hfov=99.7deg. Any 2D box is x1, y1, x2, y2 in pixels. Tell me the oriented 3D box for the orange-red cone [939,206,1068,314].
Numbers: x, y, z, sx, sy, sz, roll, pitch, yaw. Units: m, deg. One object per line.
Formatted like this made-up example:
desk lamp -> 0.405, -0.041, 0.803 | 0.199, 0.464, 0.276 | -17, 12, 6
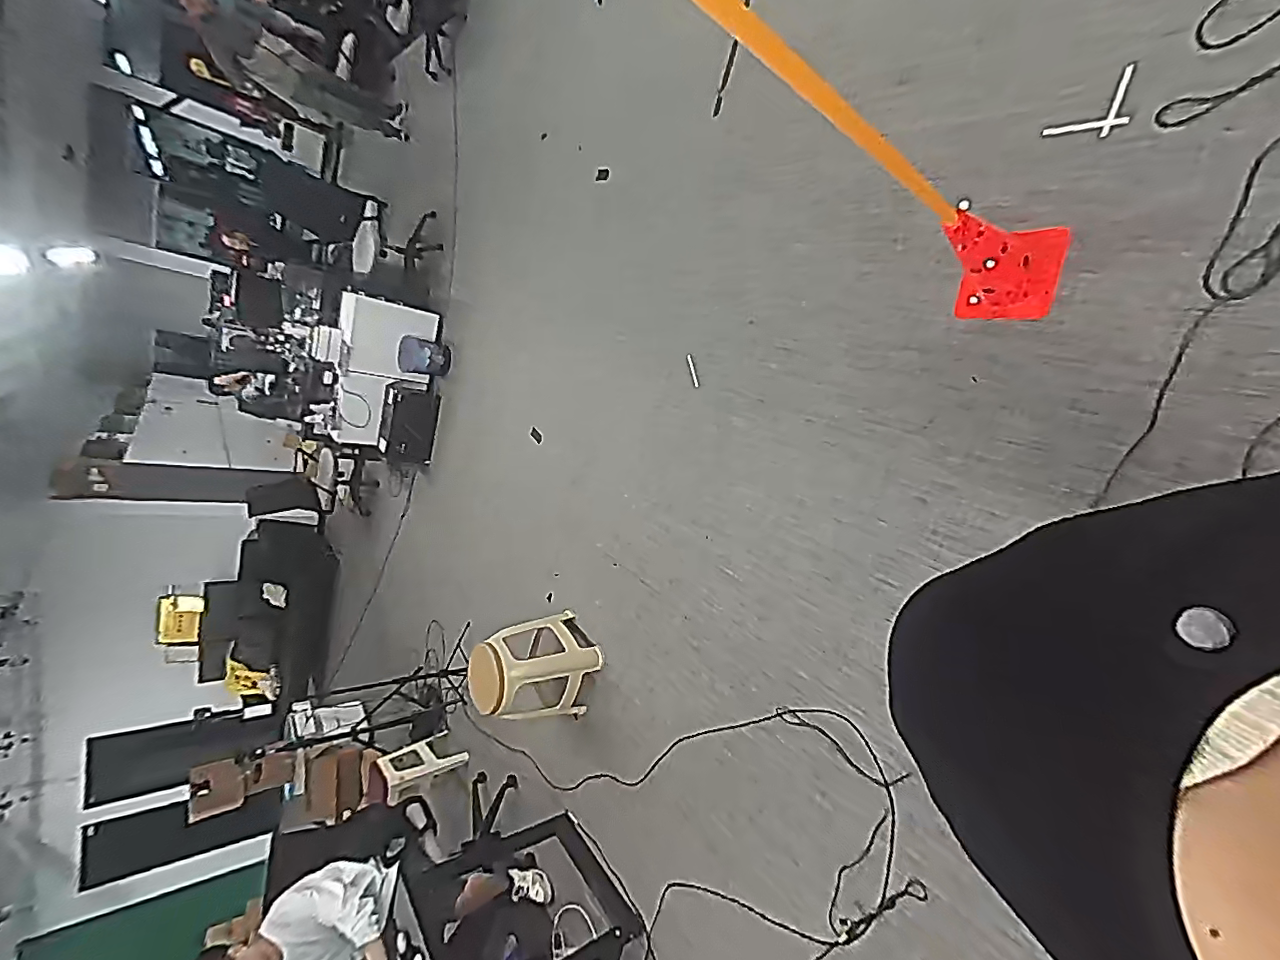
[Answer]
orange-red cone -> 0.714, -0.489, 1.127 | 0.199, 0.360, 0.198 | 21, 103, 47
